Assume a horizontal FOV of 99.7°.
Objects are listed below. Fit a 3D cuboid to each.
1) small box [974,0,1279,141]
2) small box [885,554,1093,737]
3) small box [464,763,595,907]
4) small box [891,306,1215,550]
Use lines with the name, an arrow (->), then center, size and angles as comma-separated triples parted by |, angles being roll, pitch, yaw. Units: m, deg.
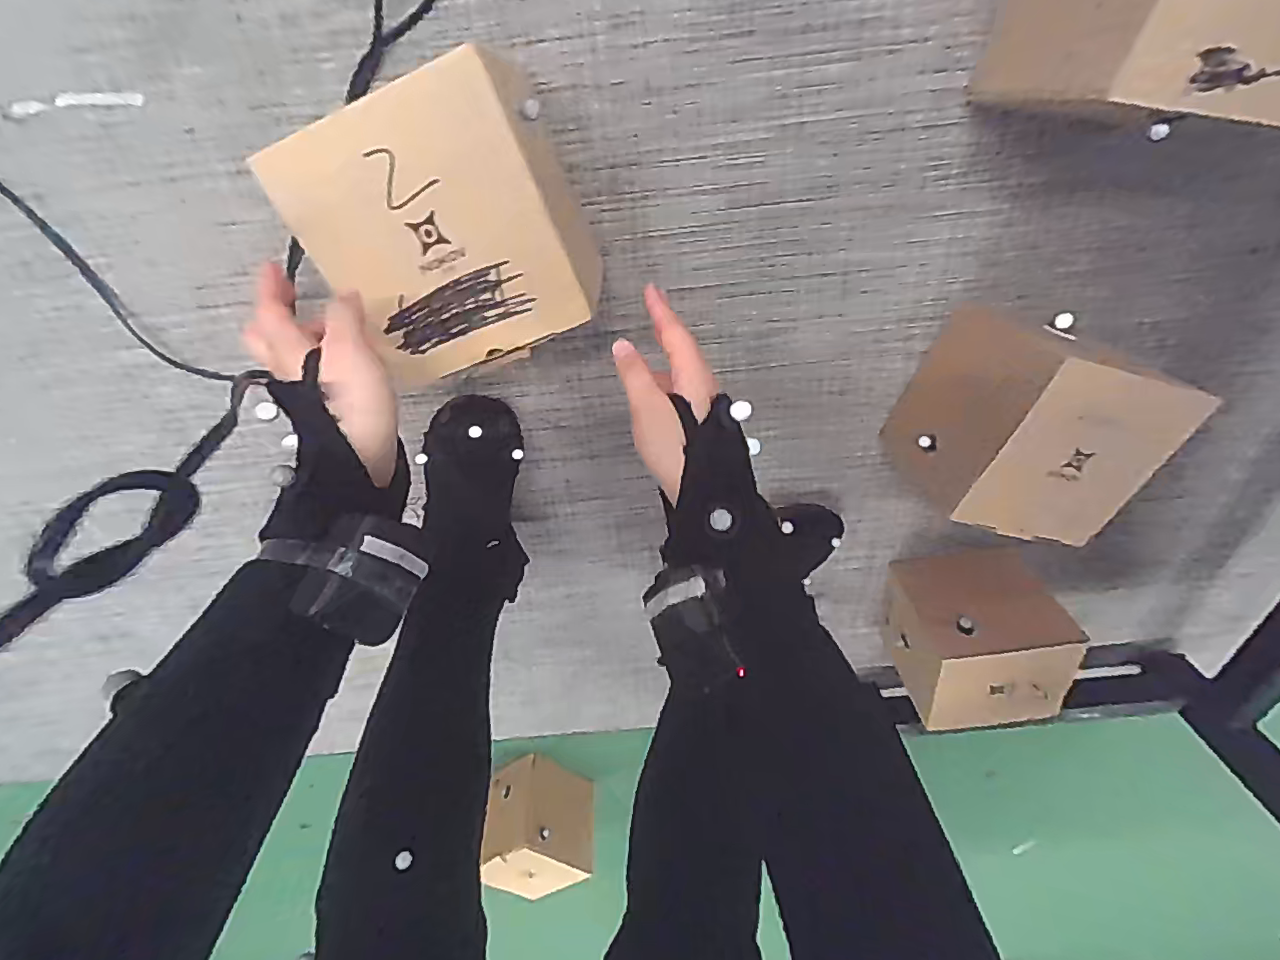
small box -> 0.373, -0.344, 0.367 | 0.168, 0.176, 0.179 | 4, 123, -5
small box -> 0.463, 0.226, 0.755 | 0.179, 0.176, 0.168 | -10, 124, 4
small box -> -0.199, 0.678, 1.037 | 0.168, 0.176, 0.179 | -37, 118, 20
small box -> 0.394, -0.057, 0.562 | 0.168, 0.176, 0.179 | 11, 122, -10
